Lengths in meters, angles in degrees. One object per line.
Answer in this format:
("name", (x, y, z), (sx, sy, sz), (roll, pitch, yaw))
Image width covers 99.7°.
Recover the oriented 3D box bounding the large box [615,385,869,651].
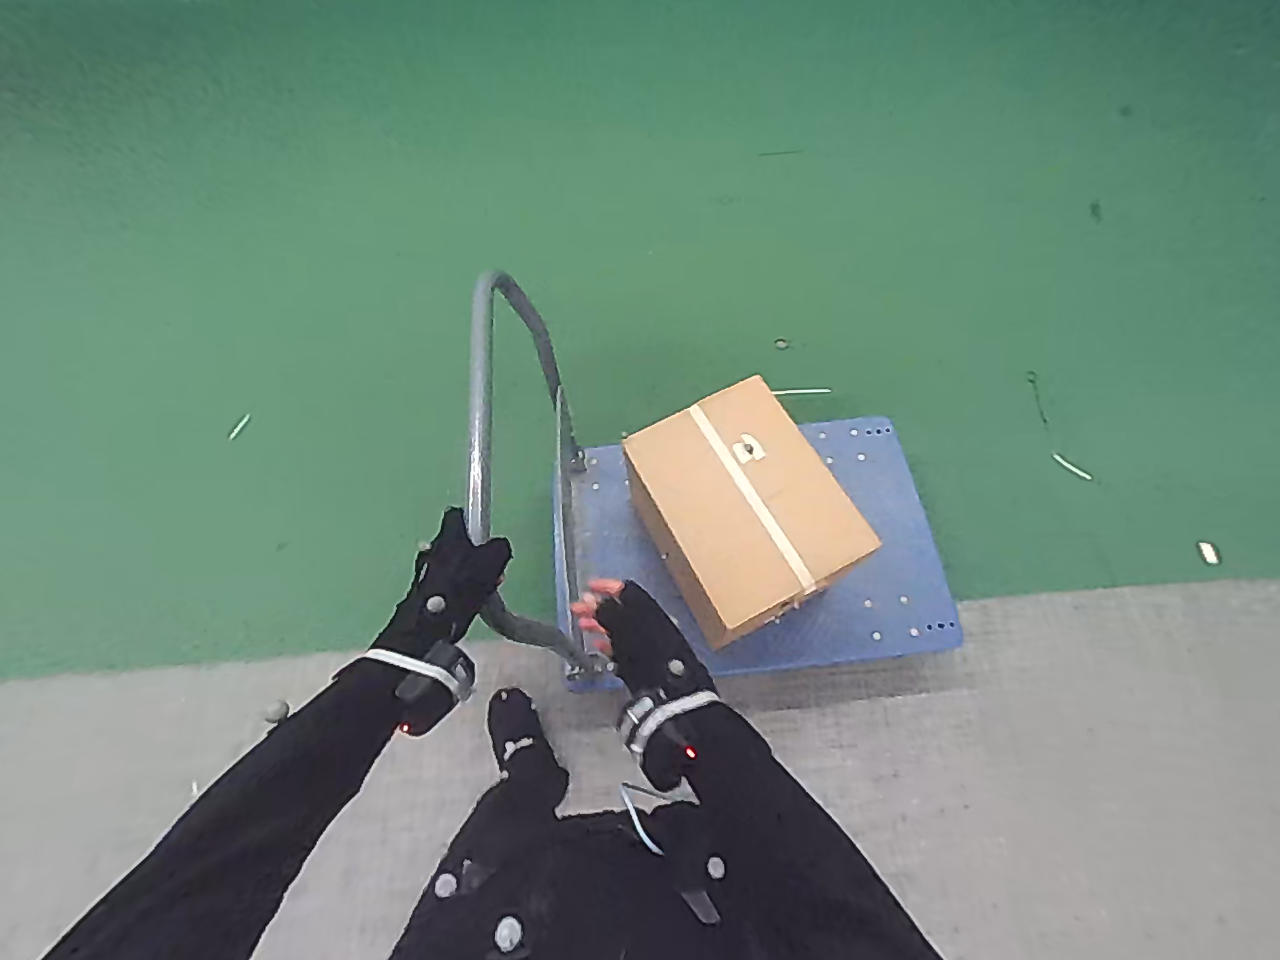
("large box", (0.187, 0.090, 1.133), (0.320, 0.320, 0.408), (-26, 66, -9))
